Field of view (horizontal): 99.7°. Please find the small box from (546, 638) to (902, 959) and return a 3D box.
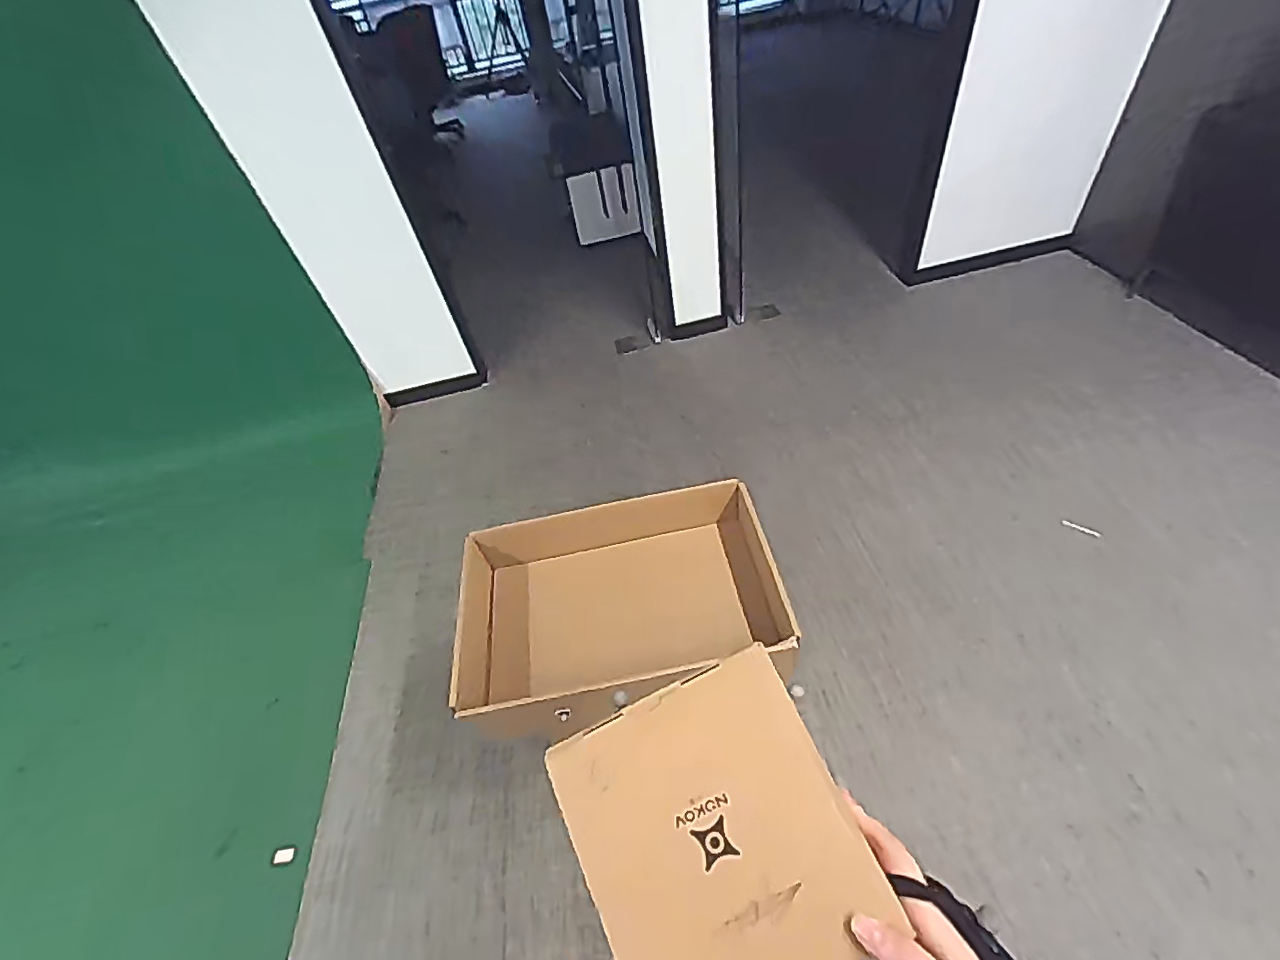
[{"bbox_3d":[0.055,0.239,0.408,0.168,0.176,0.179,-27,69,1],"label":"small box"}]
